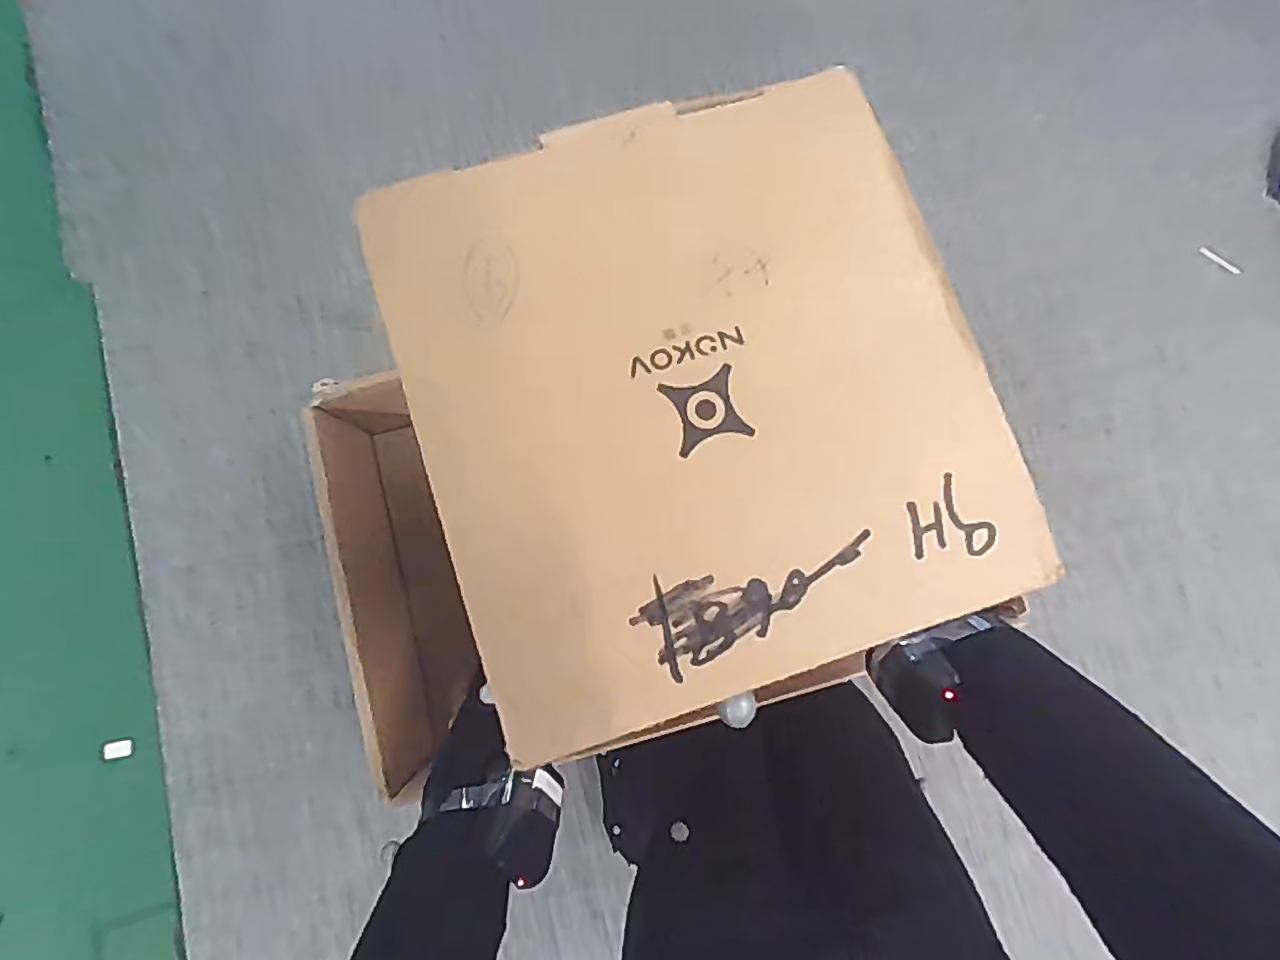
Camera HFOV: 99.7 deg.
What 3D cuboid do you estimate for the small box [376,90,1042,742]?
[{"bbox_3d":[0.015,-0.017,0.246,0.168,0.176,0.179,-18,81,-3],"label":"small box"}]
